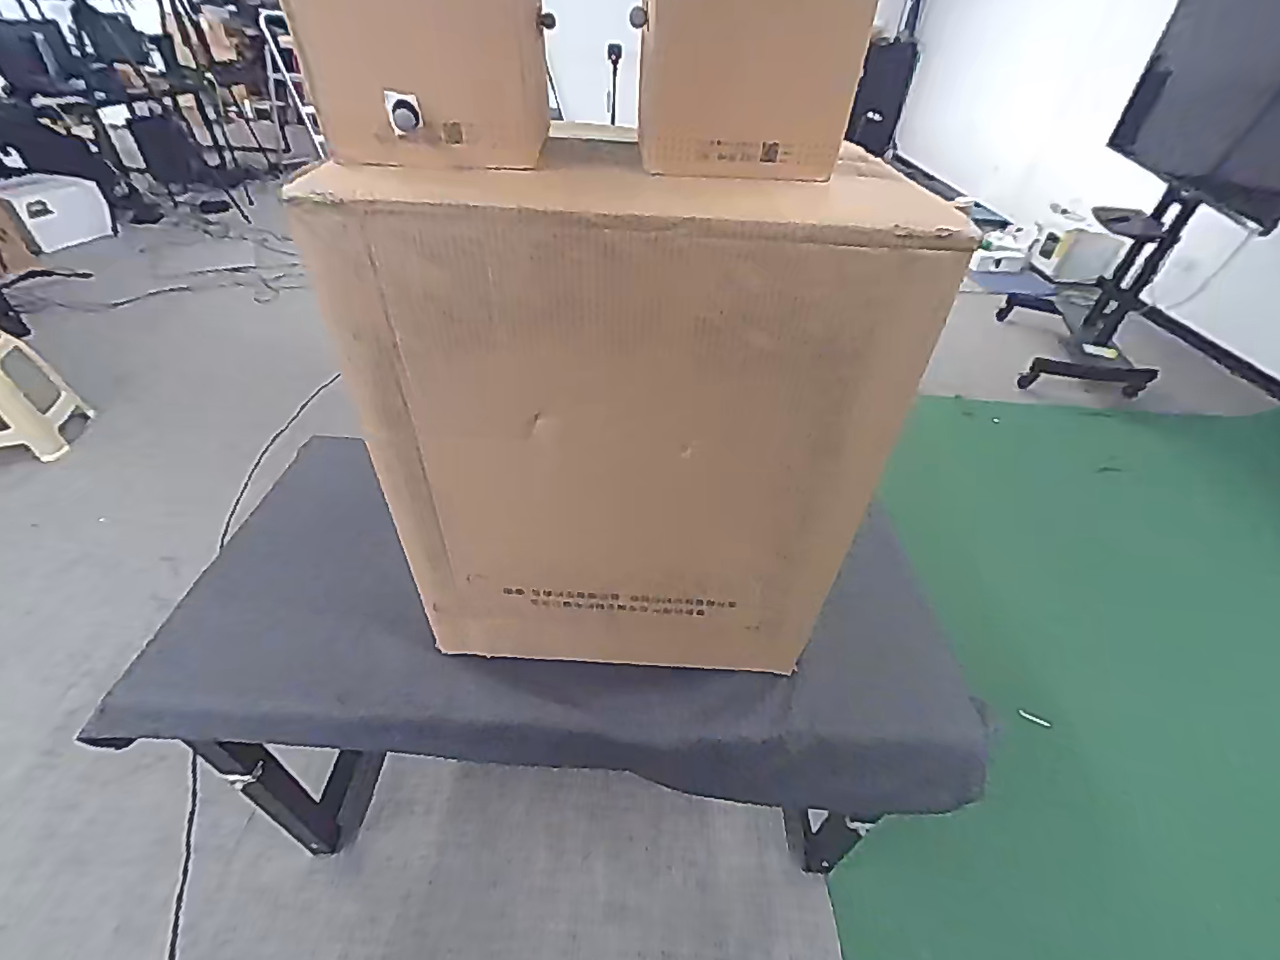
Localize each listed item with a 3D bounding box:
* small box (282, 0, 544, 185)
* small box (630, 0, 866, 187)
[{"bbox_3d":[-0.176,-0.366,0.456,0.168,0.176,0.179,-2,44,-2],"label":"small box"},{"bbox_3d":[0.078,-0.374,0.475,0.168,0.176,0.179,-1,43,-3],"label":"small box"}]
